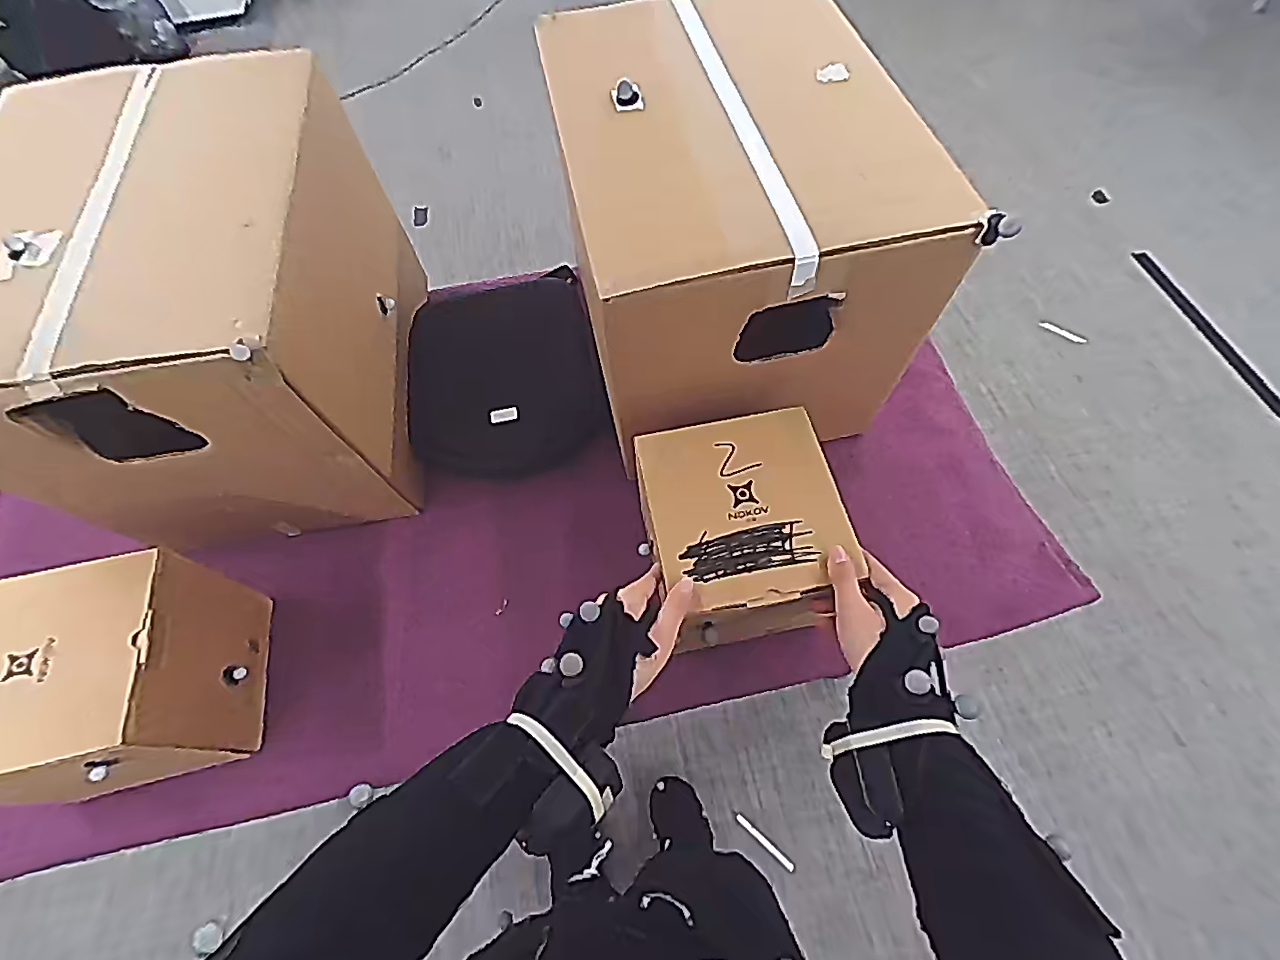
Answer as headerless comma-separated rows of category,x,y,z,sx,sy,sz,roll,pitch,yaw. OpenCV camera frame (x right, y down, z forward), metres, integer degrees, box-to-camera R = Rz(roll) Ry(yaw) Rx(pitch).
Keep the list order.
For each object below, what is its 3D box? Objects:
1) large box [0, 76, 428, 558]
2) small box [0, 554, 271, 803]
large box,-0.454,-0.166,0.618,0.320,0.320,0.408,-11,65,-2
small box,-0.493,0.193,0.509,0.179,0.176,0.168,-13,62,-8
